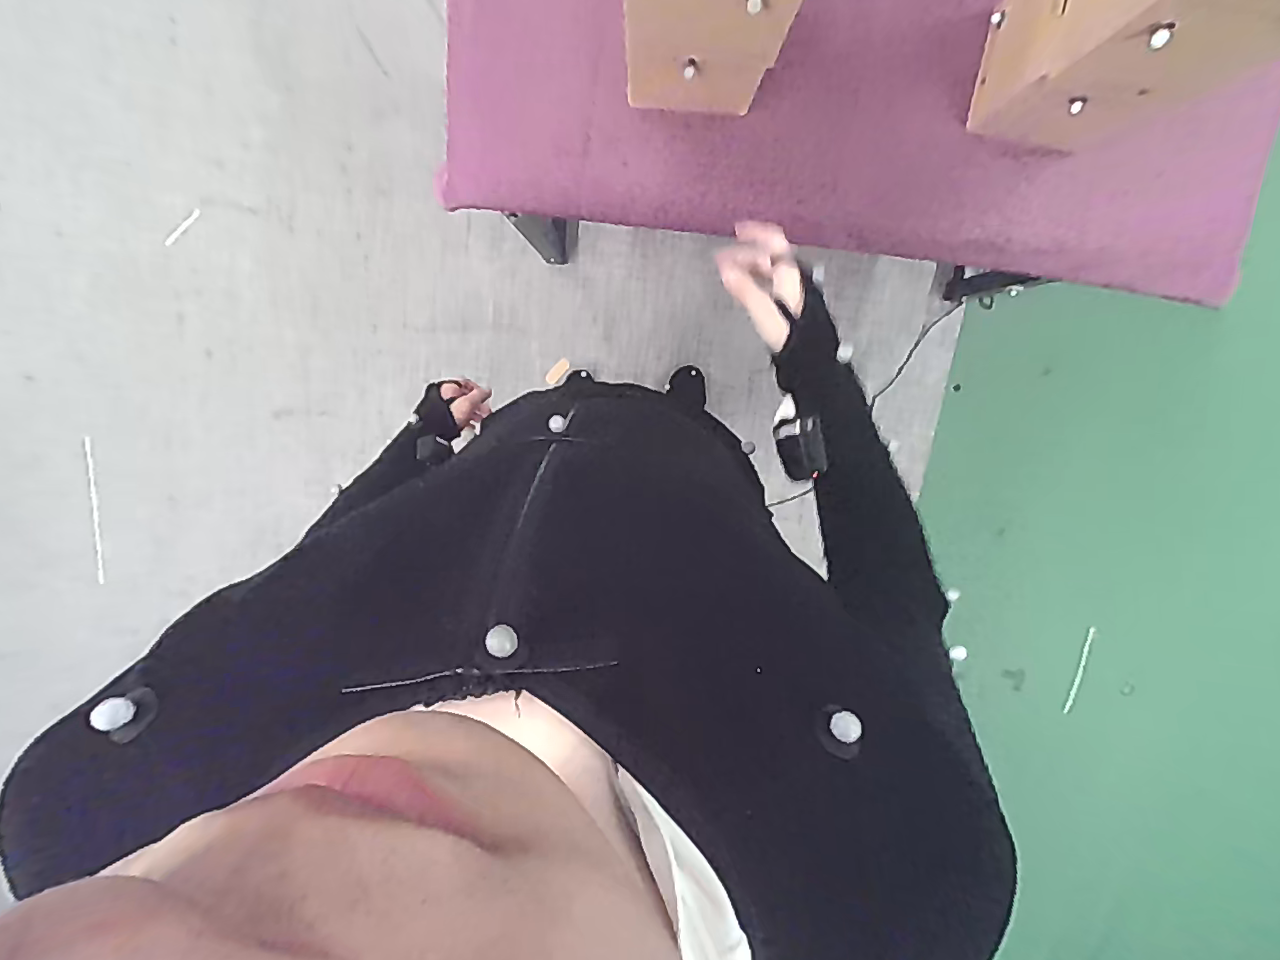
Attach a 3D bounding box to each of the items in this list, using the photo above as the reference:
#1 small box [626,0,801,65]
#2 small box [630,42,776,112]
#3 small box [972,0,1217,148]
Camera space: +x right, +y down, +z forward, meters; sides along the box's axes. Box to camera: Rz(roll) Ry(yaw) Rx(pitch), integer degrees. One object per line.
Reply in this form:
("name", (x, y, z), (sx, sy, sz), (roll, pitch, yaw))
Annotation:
("small box", (0.081, -0.557, 0.544), (0.179, 0.176, 0.168), (6, 102, 0))
("small box", (0.081, -0.607, 0.702), (0.179, 0.176, 0.168), (4, 102, 0))
("small box", (0.577, -0.562, 0.703), (0.179, 0.176, 0.168), (9, 102, -2))
